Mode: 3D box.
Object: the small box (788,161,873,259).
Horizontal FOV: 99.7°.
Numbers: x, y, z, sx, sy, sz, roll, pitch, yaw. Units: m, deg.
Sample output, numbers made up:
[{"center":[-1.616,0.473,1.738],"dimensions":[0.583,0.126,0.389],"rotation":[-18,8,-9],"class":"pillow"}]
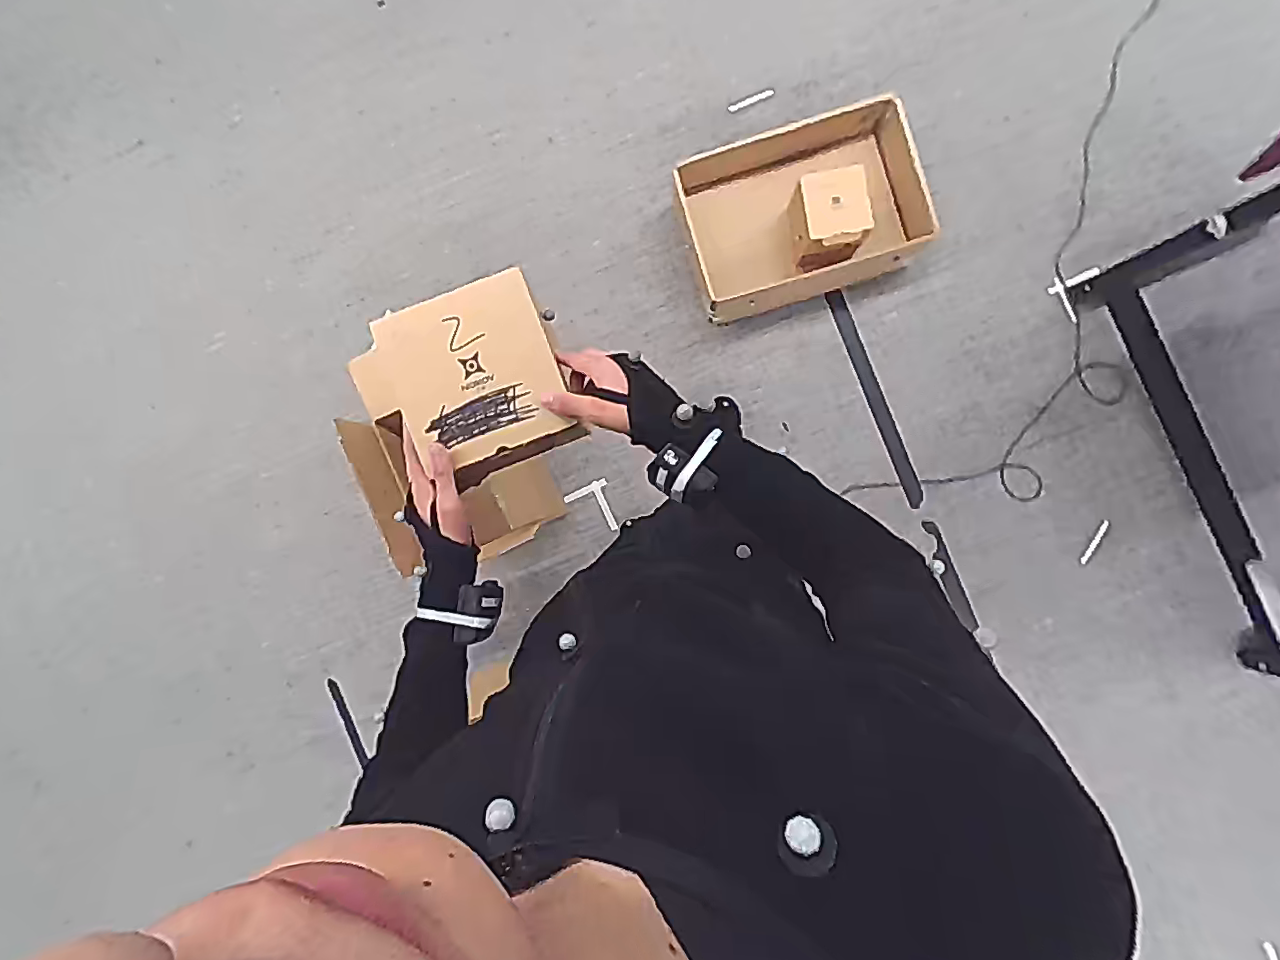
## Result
[{"center":[0.508,-0.716,1.458],"dimensions":[0.168,0.176,0.179],"rotation":[-9,89,3],"class":"small box"}]
